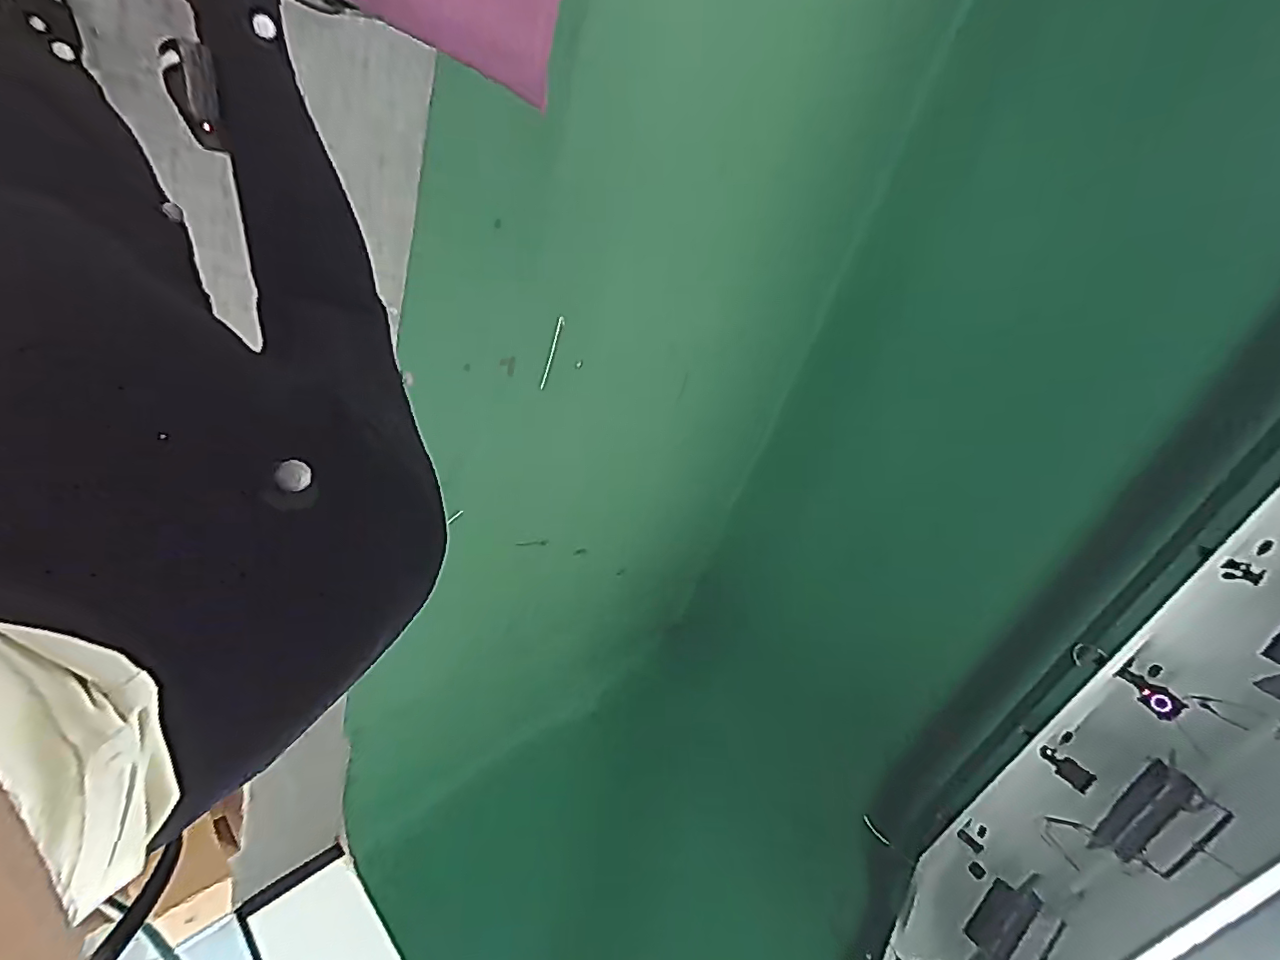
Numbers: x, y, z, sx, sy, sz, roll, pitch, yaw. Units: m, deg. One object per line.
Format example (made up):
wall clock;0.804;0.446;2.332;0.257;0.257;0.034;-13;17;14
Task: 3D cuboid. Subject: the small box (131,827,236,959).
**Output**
small box;-1.135;1.018;1.344;0.168;0.176;0.179;-12;130;-51
